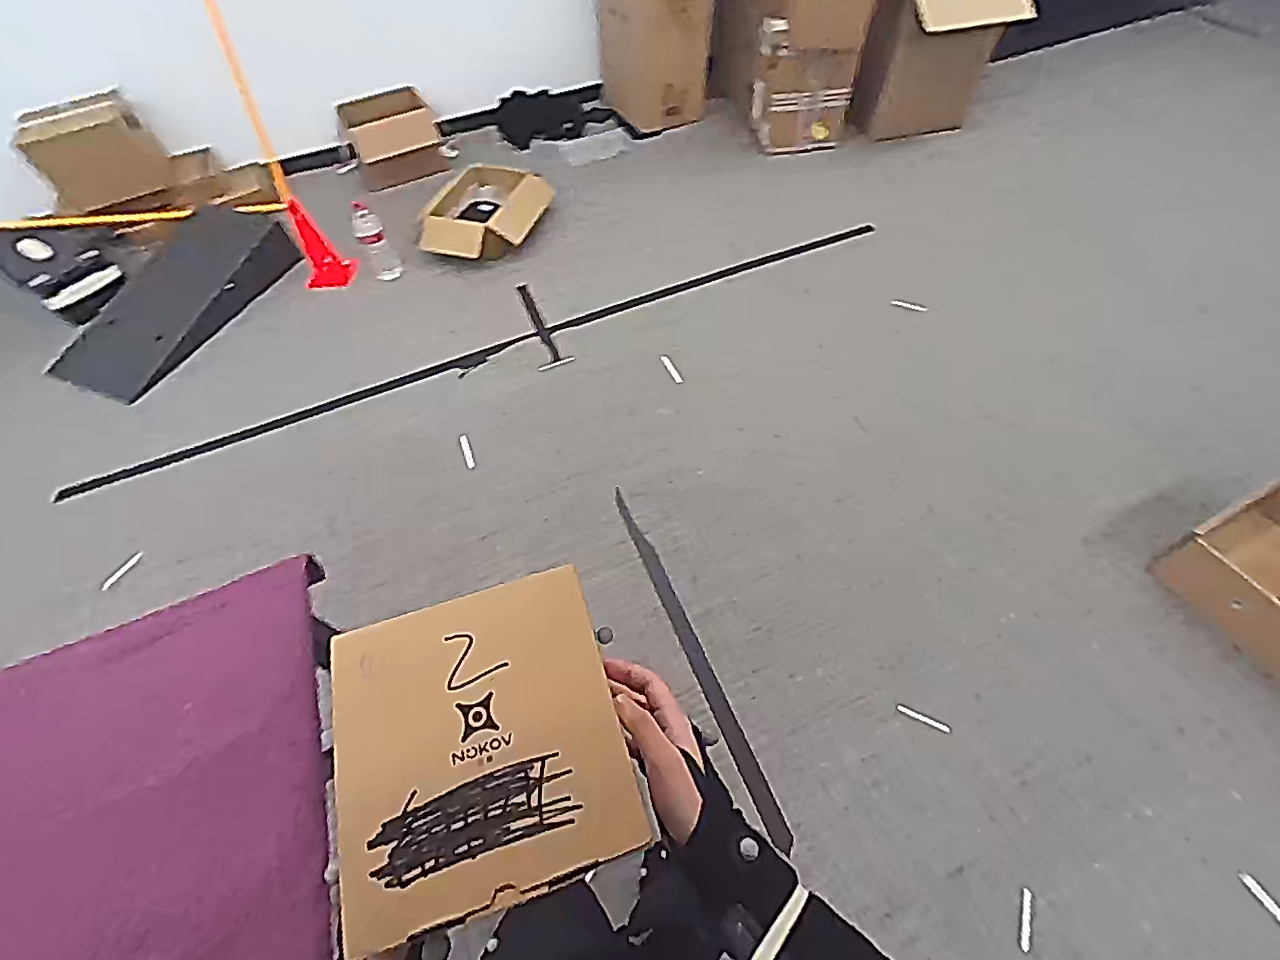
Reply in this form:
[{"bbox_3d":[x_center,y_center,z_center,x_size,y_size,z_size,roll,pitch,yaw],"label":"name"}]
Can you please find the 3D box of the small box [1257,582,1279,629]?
[{"bbox_3d":[1.707,0.306,1.327,0.179,0.176,0.168,-26,58,-14],"label":"small box"}]
